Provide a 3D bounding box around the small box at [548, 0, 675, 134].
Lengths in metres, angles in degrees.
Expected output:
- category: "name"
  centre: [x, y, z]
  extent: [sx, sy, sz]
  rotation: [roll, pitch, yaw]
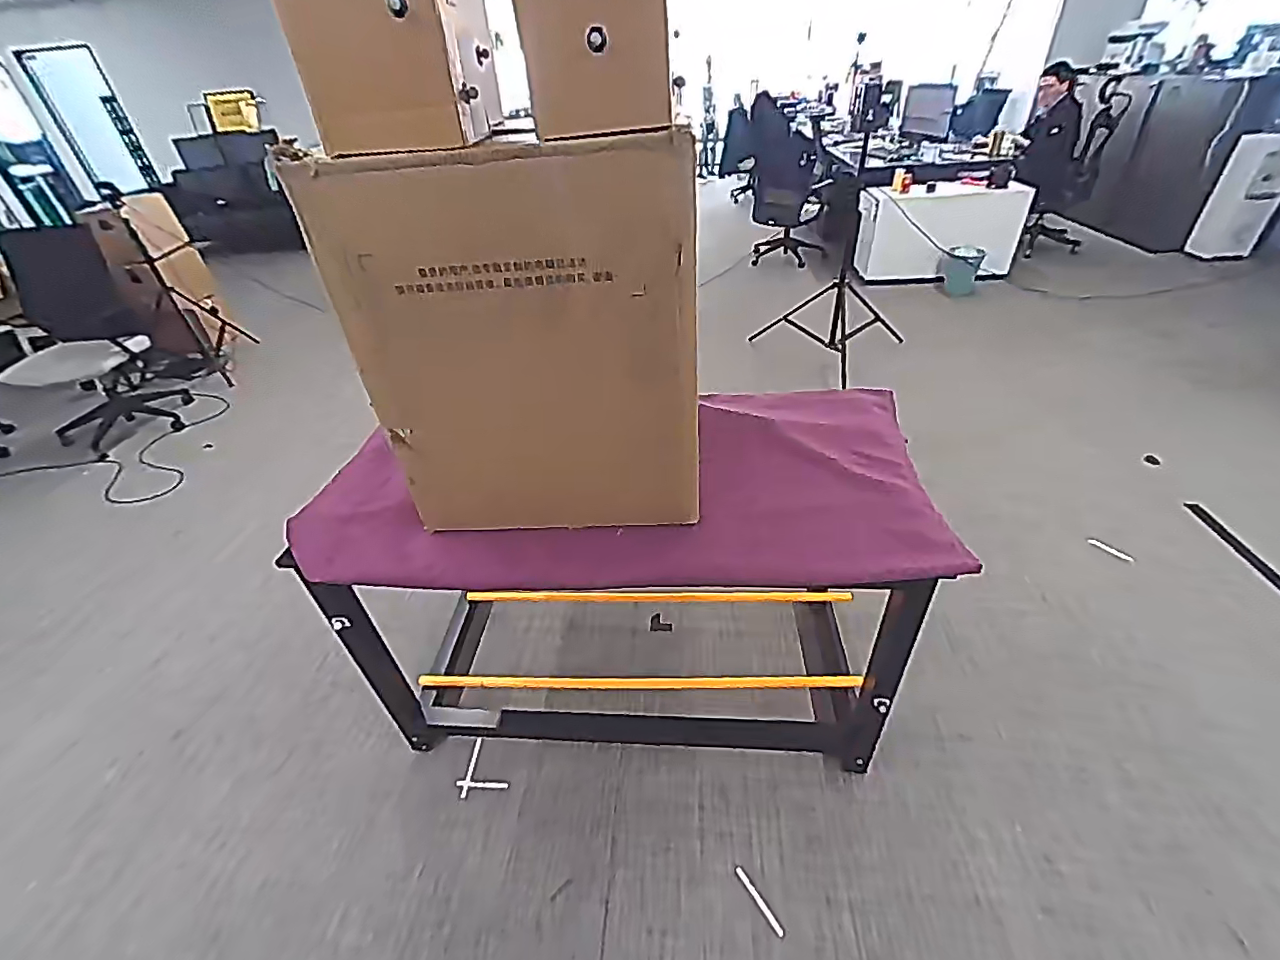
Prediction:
- category: "small box"
  centre: [-0.034, -0.641, 0.833]
  extent: [0.168, 0.176, 0.179]
  rotation: [-1, 37, 7]
